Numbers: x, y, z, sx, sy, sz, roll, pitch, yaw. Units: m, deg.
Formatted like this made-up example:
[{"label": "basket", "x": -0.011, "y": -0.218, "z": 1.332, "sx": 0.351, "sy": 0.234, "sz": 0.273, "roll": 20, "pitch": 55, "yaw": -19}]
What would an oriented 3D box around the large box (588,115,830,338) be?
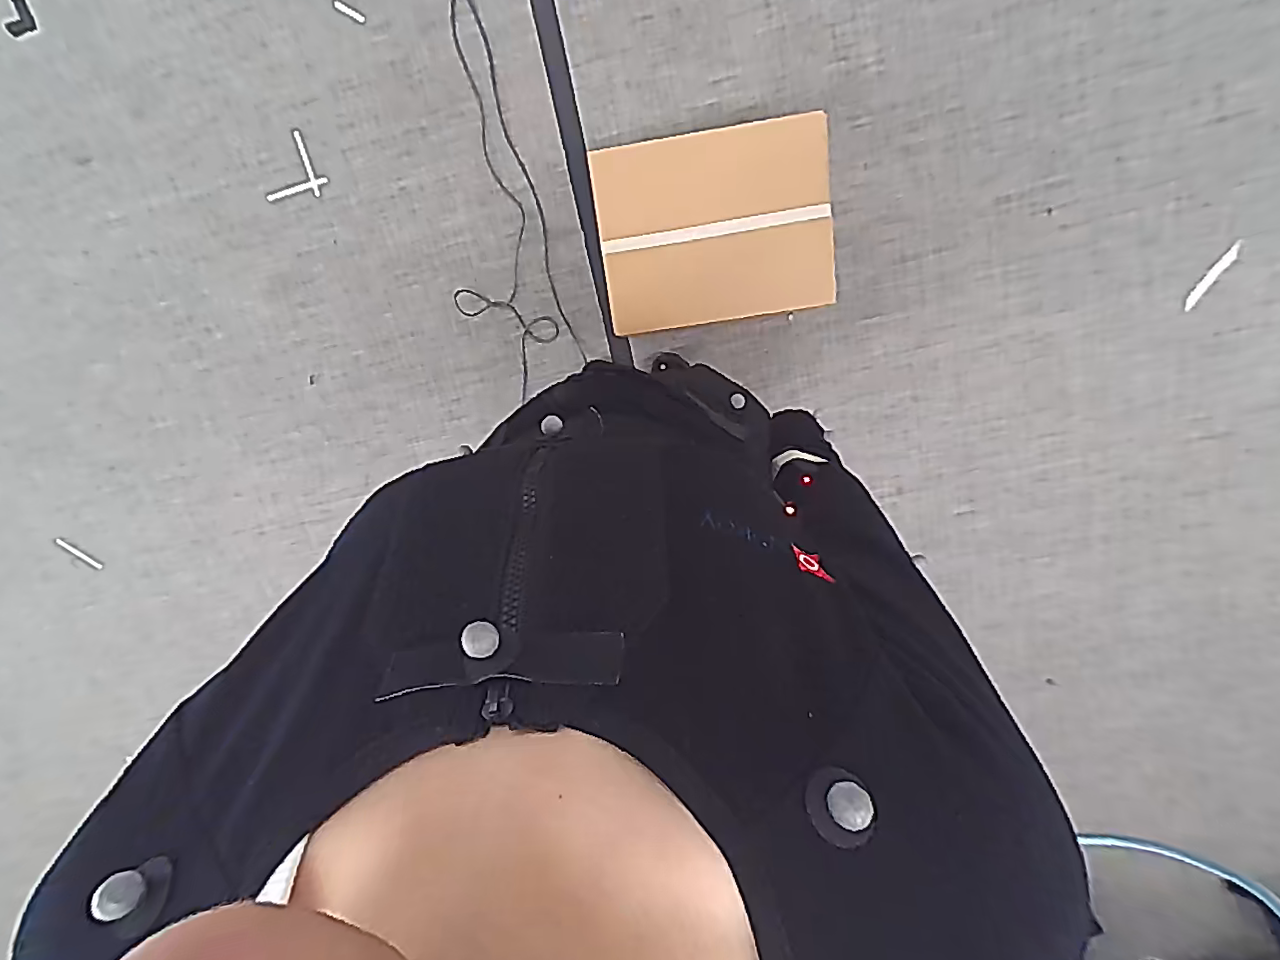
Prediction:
[{"label": "large box", "x": 0.134, "y": -0.477, "z": 1.100, "sx": 0.408, "sy": 0.320, "sz": 0.320, "roll": -7, "pitch": 103, "yaw": 4}]
